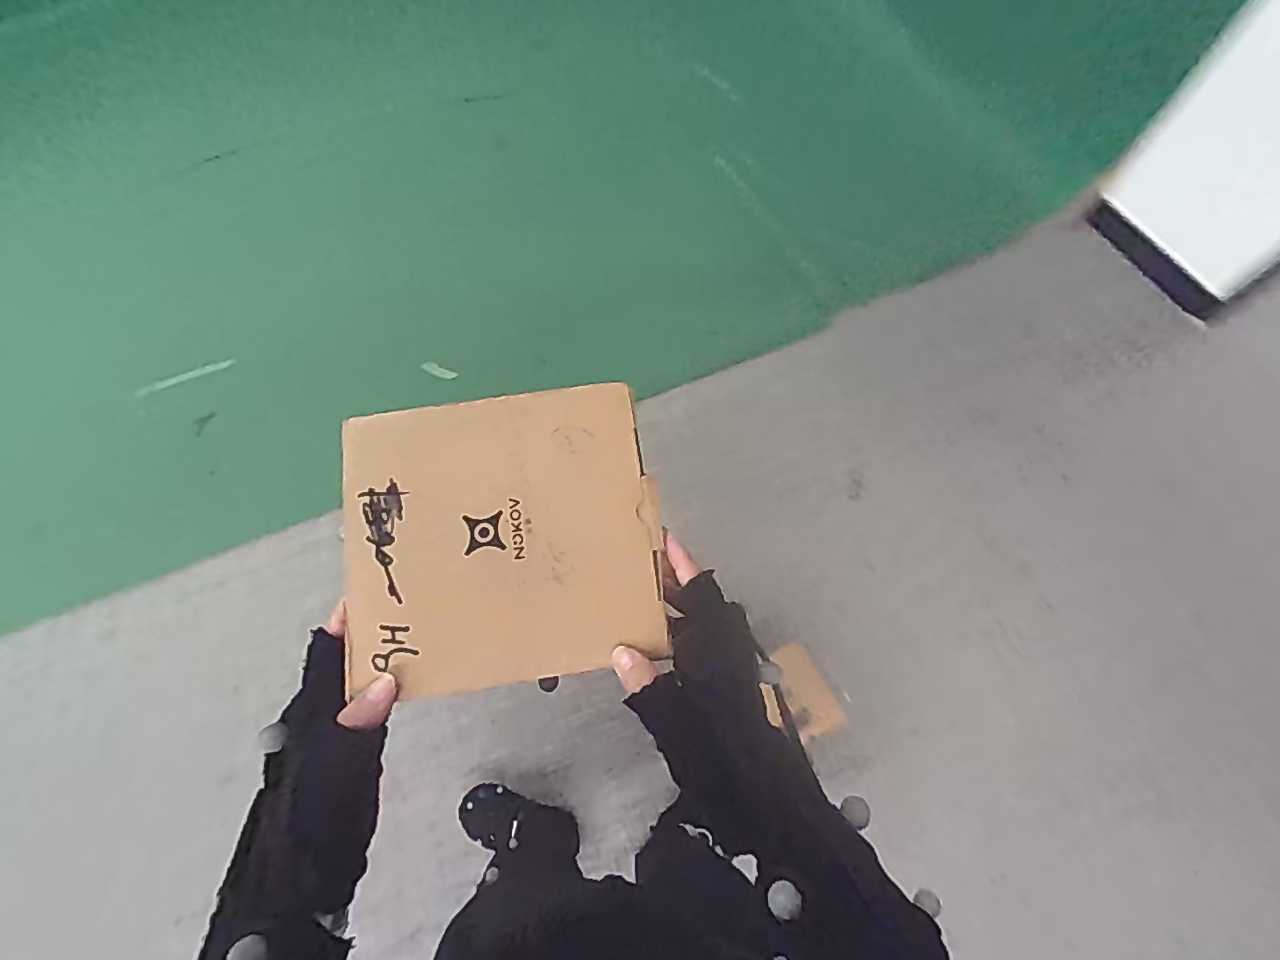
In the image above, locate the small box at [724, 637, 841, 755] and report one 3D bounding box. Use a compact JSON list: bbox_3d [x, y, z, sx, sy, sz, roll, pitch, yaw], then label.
[{"bbox_3d":[0.299,0.465,1.178,0.168,0.176,0.179,-29,69,-9],"label":"small box"}]
